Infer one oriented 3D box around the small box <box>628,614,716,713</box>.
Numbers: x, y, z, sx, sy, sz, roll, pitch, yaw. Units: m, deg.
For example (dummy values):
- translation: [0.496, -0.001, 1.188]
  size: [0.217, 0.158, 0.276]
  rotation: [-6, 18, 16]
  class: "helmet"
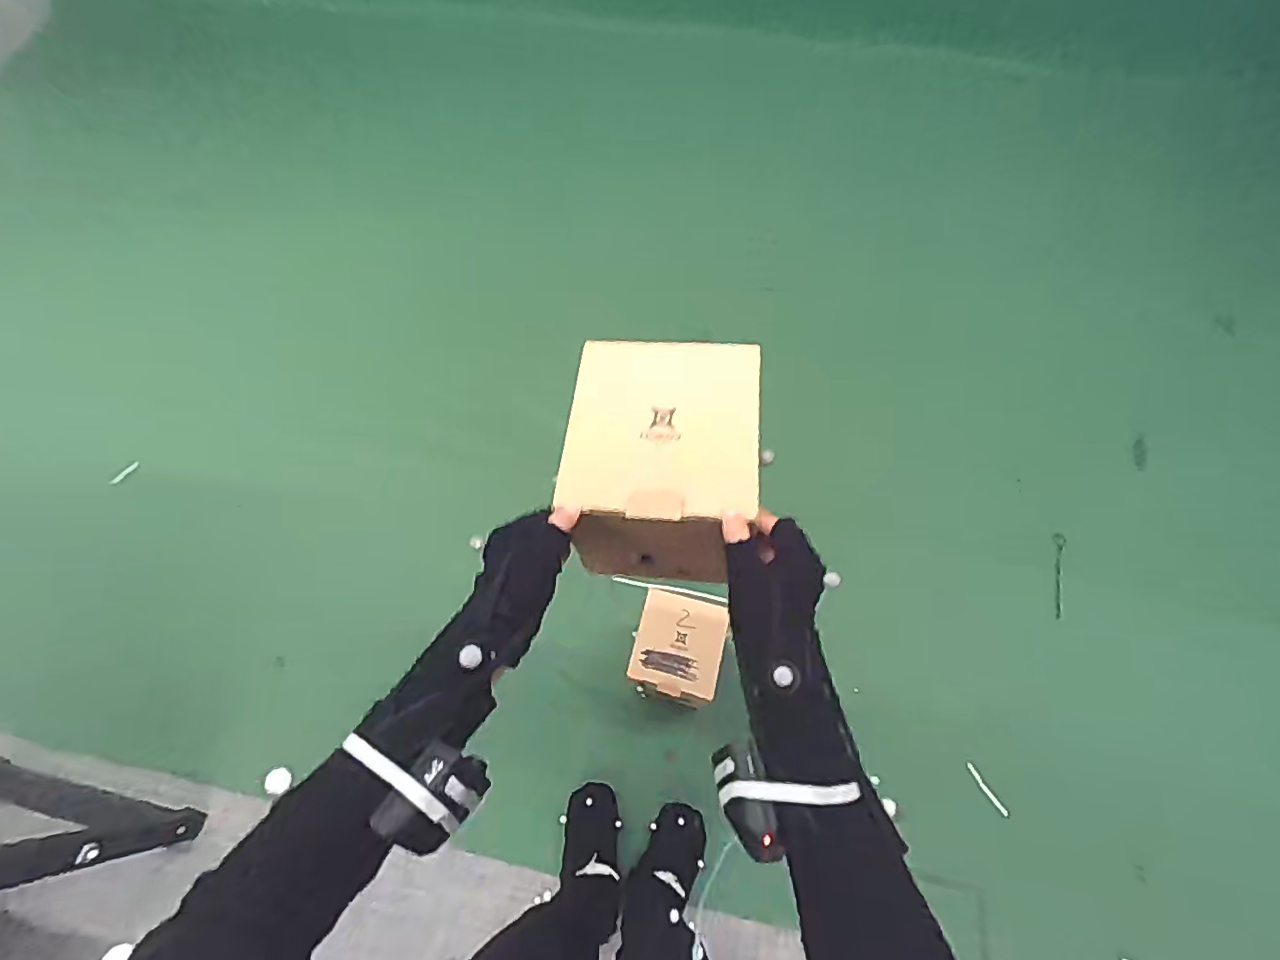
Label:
- translation: [0.074, 0.424, 1.240]
  size: [0.168, 0.176, 0.179]
  rotation: [12, 67, 6]
  class: "small box"
